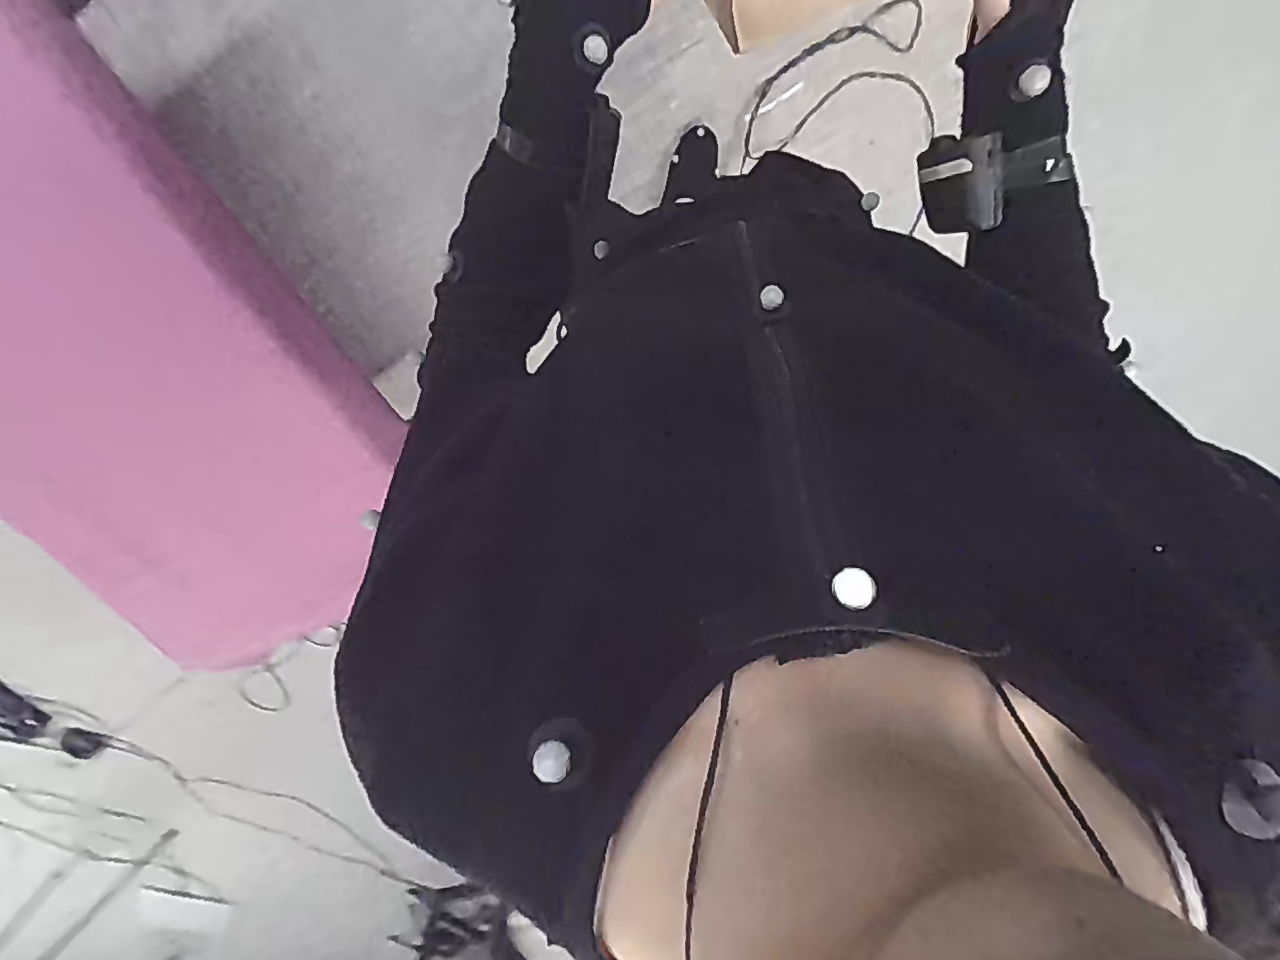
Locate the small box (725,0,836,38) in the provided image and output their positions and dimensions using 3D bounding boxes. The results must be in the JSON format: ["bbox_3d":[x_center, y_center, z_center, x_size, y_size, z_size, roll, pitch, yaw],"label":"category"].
[{"bbox_3d":[0.110,-0.420,0.318,0.179,0.176,0.168,-17,149,11],"label":"small box"}]
